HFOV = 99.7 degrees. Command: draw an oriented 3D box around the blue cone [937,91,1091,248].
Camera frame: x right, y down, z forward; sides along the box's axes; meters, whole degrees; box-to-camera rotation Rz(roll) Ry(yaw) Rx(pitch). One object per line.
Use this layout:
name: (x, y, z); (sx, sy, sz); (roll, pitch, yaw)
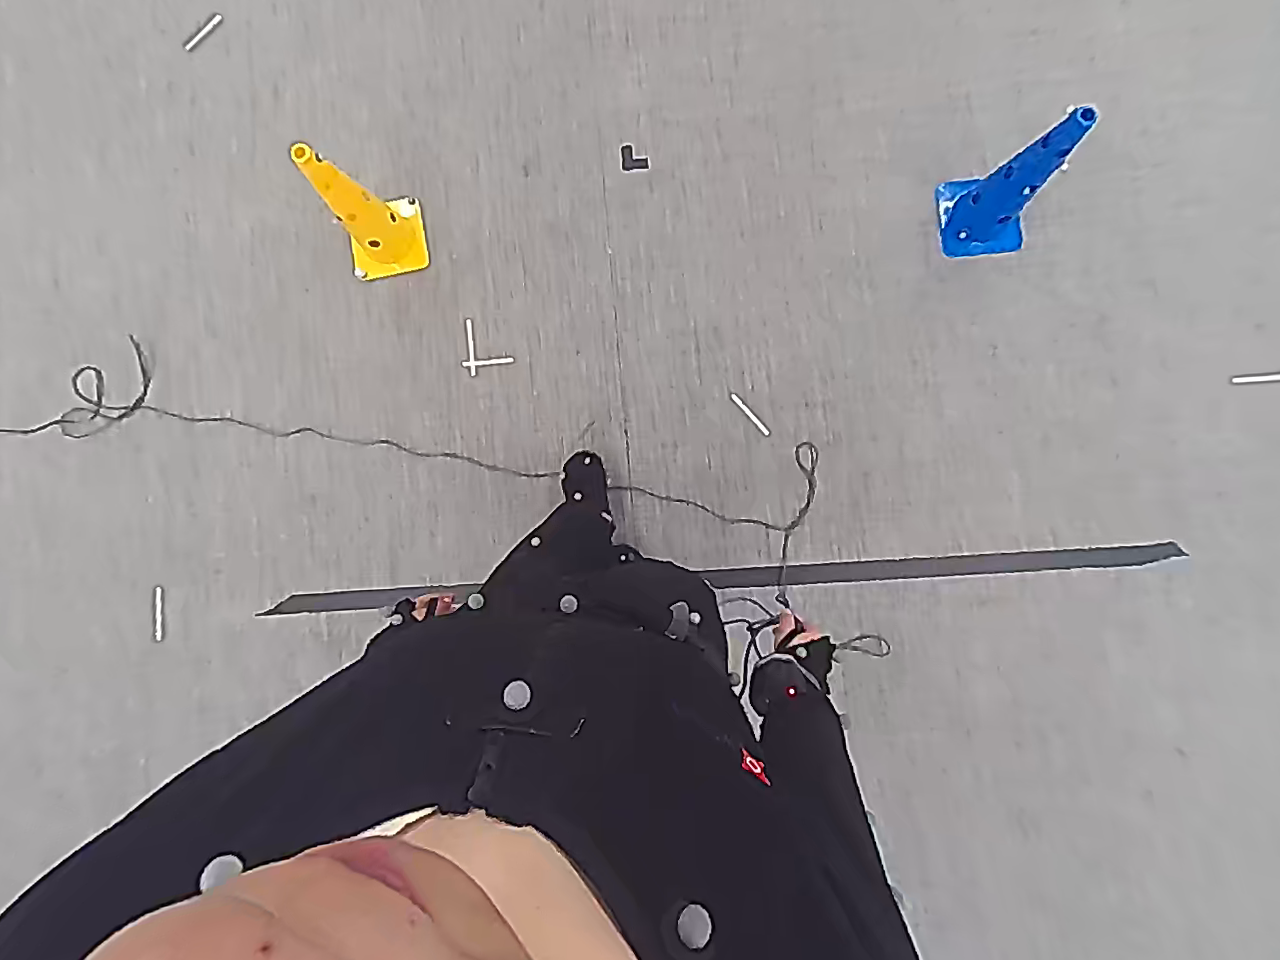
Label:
blue cone: (0.855, -0.700, 1.215); (0.193, 0.380, 0.192); (-4, 85, 2)
